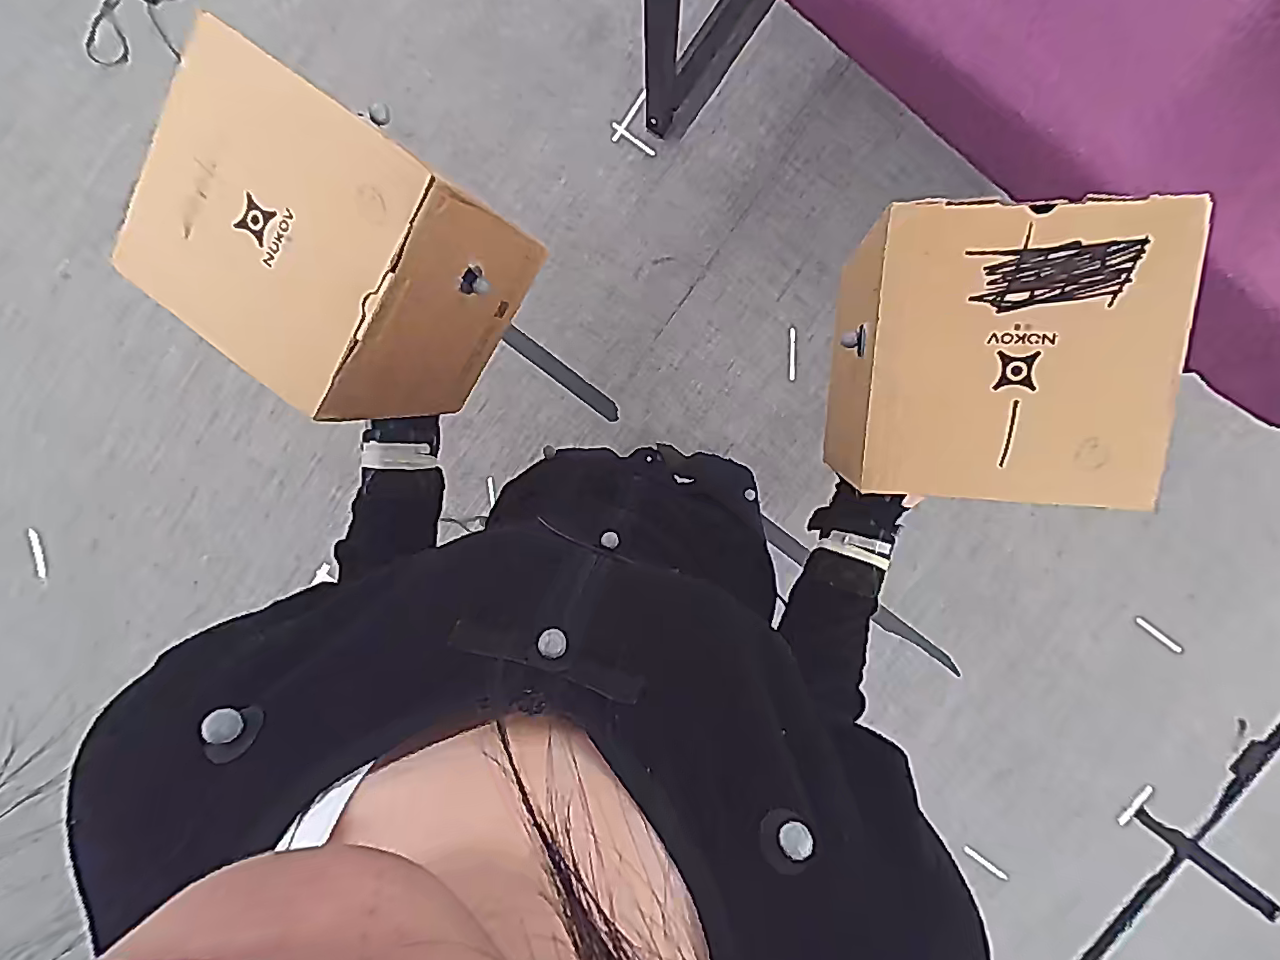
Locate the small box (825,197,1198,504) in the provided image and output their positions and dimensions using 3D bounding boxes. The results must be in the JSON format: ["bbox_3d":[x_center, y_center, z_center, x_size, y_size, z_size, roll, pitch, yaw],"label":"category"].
[{"bbox_3d":[0.239,-0.088,0.402,0.168,0.176,0.179,4,100,10],"label":"small box"}]

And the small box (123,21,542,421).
[{"bbox_3d":[-0.202,-0.163,0.398,0.179,0.176,0.168,36,103,5],"label":"small box"}]
